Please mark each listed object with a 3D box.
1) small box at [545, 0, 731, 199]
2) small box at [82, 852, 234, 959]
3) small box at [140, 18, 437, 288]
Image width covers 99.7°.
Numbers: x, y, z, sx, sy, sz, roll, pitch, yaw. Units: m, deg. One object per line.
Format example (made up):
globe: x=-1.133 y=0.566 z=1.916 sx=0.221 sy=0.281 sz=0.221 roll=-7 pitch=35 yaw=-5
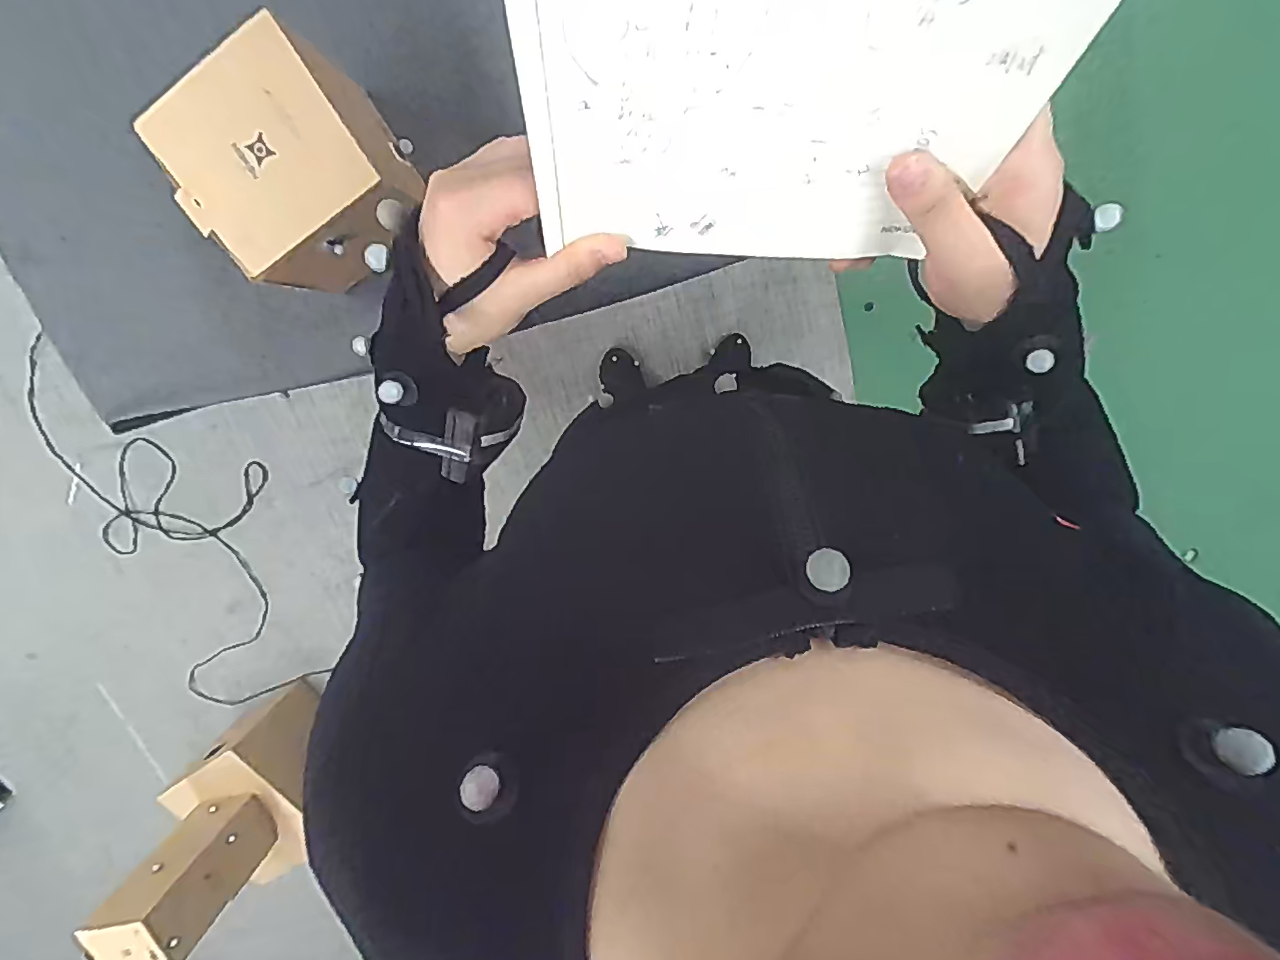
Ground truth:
small box: x=0.000 y=-0.406 z=0.557 sx=0.168 sy=0.176 sz=0.179 roll=0 pitch=106 yaw=3
small box: x=-1.125 y=1.022 z=1.277 sx=0.179 sy=0.176 sz=0.168 roll=-13 pitch=106 yaw=7
small box: x=-0.362 y=-0.330 z=0.596 sx=0.179 sy=0.176 sz=0.168 roll=-32 pitch=103 yaw=9
